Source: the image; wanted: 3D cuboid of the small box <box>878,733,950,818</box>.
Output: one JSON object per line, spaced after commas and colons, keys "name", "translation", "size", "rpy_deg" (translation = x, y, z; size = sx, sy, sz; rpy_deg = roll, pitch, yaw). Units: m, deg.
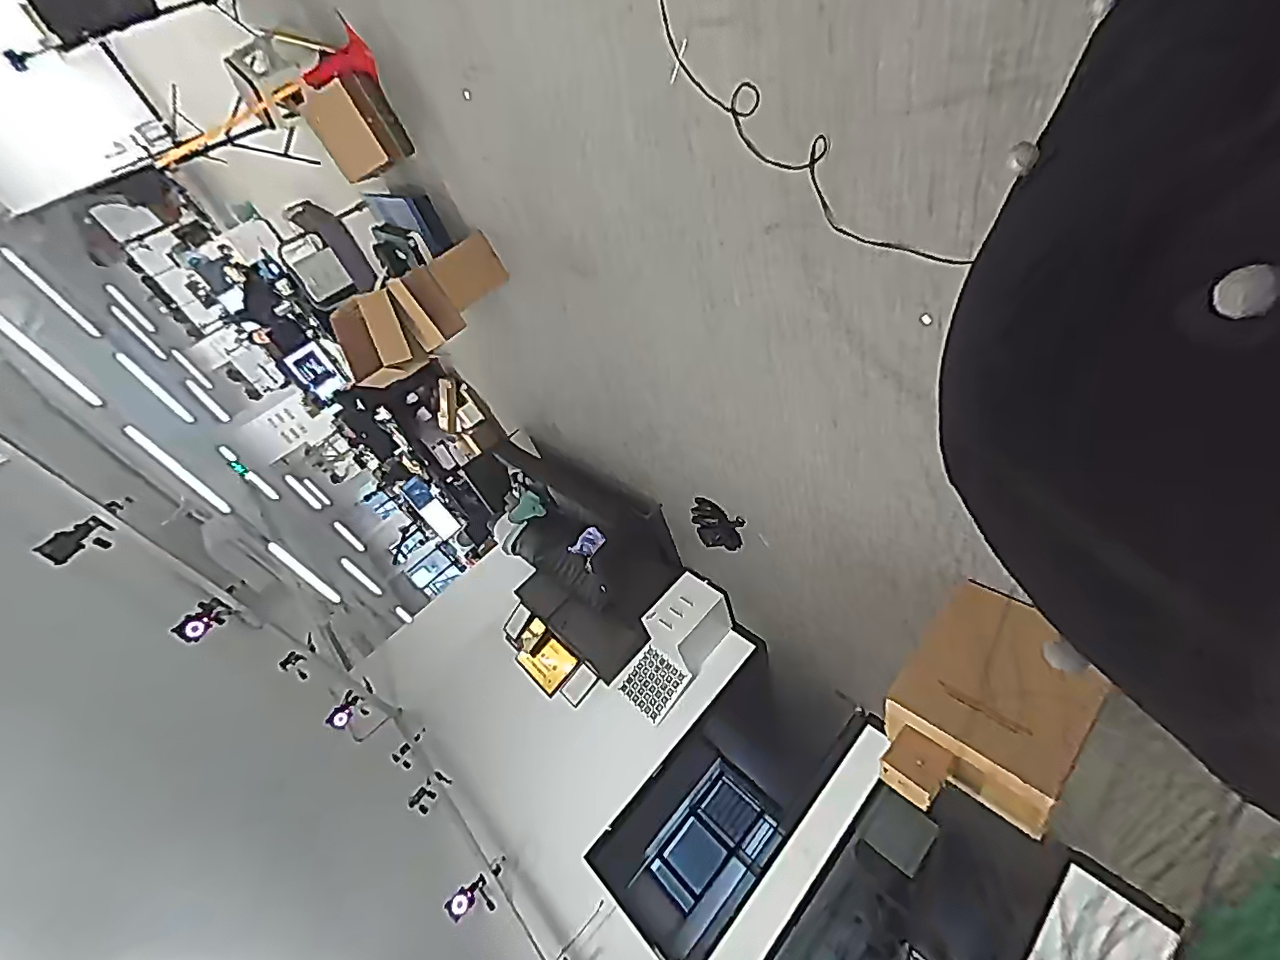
{"name": "small box", "translation": [0.972, 1.042, 1.920], "size": [0.179, 0.176, 0.168], "rpy_deg": [27, 145, 41]}
